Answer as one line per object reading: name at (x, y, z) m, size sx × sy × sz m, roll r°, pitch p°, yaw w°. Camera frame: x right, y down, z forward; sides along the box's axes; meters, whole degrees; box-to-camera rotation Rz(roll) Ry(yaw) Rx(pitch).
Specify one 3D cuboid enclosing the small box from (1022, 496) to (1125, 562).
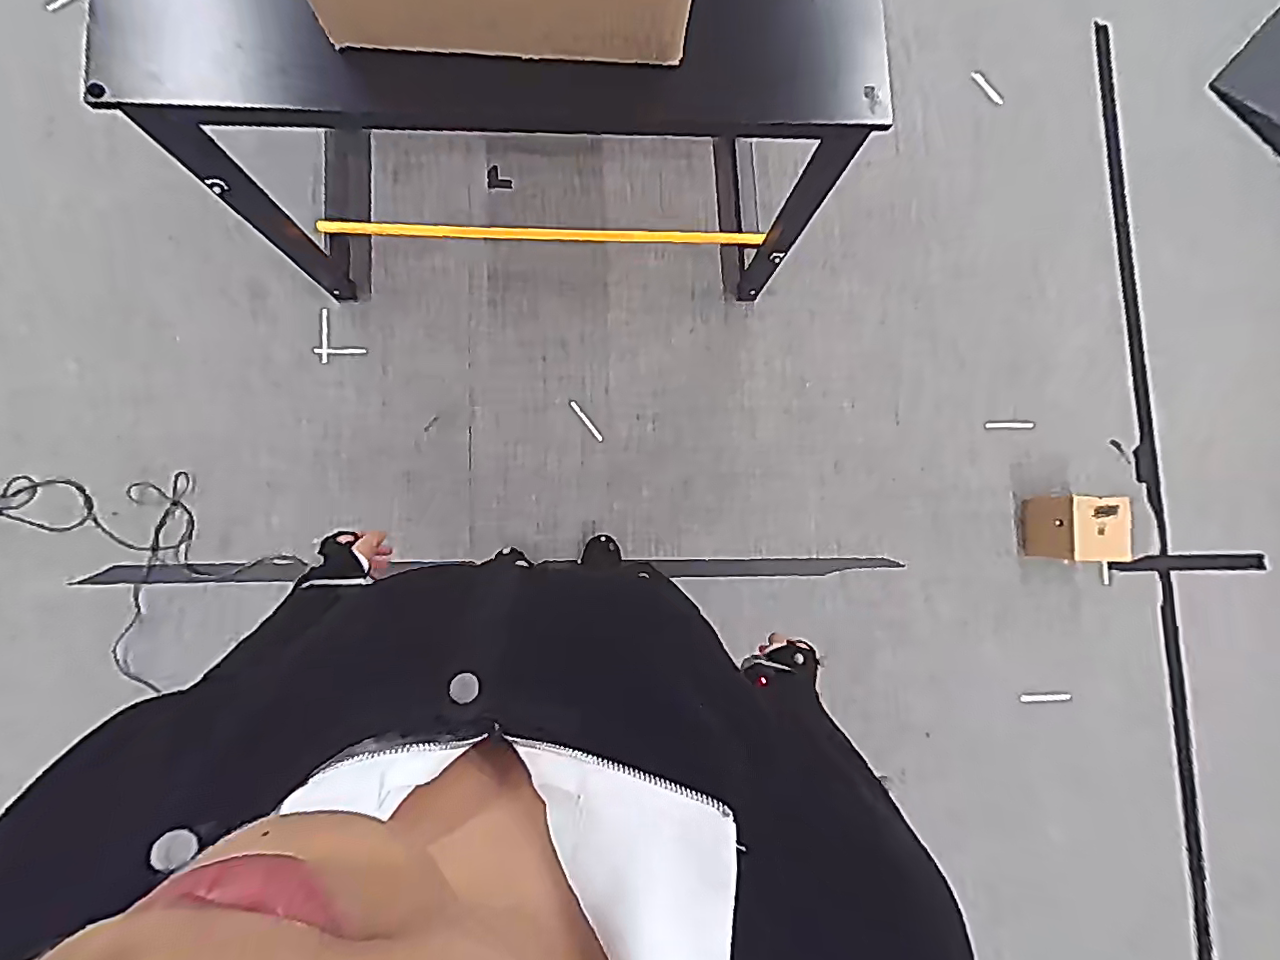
small box at (1.223, 0.139, 1.537) m, size 0.168 × 0.176 × 0.179 m, roll 2°, pitch 86°, yaw -4°
